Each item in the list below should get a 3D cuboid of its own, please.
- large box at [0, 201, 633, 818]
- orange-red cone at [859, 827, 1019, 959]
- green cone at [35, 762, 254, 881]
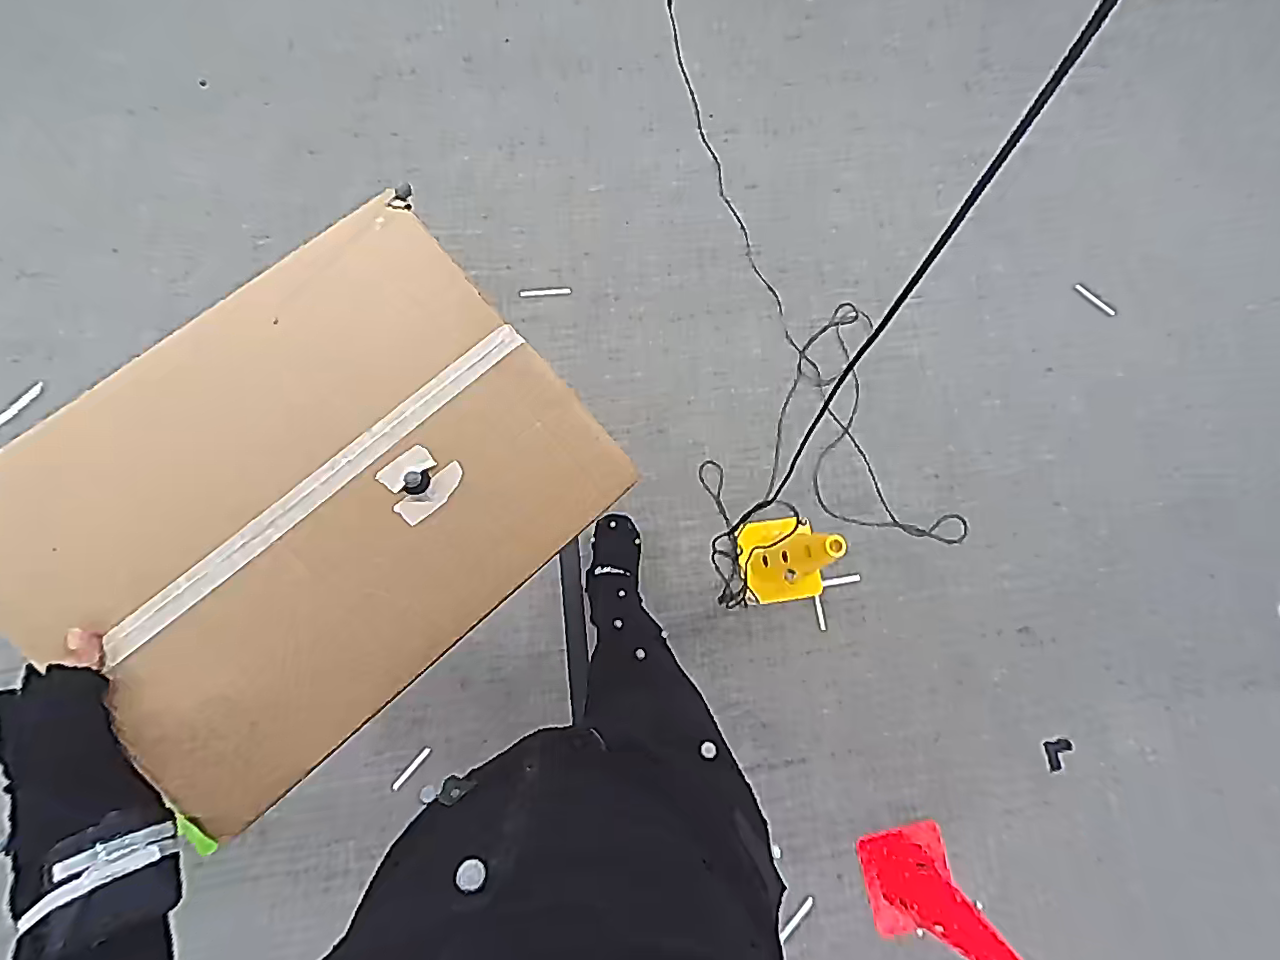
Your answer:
[{"bbox_3d":[-0.271,0.022,0.569,0.408,0.320,0.320,-42,92,-11],"label":"large box"},{"bbox_3d":[0.612,0.859,1.044,0.198,0.360,0.199,-8,76,-6],"label":"orange-red cone"},{"bbox_3d":[-0.907,0.625,1.000,0.202,0.368,0.200,-44,82,-10],"label":"green cone"}]
